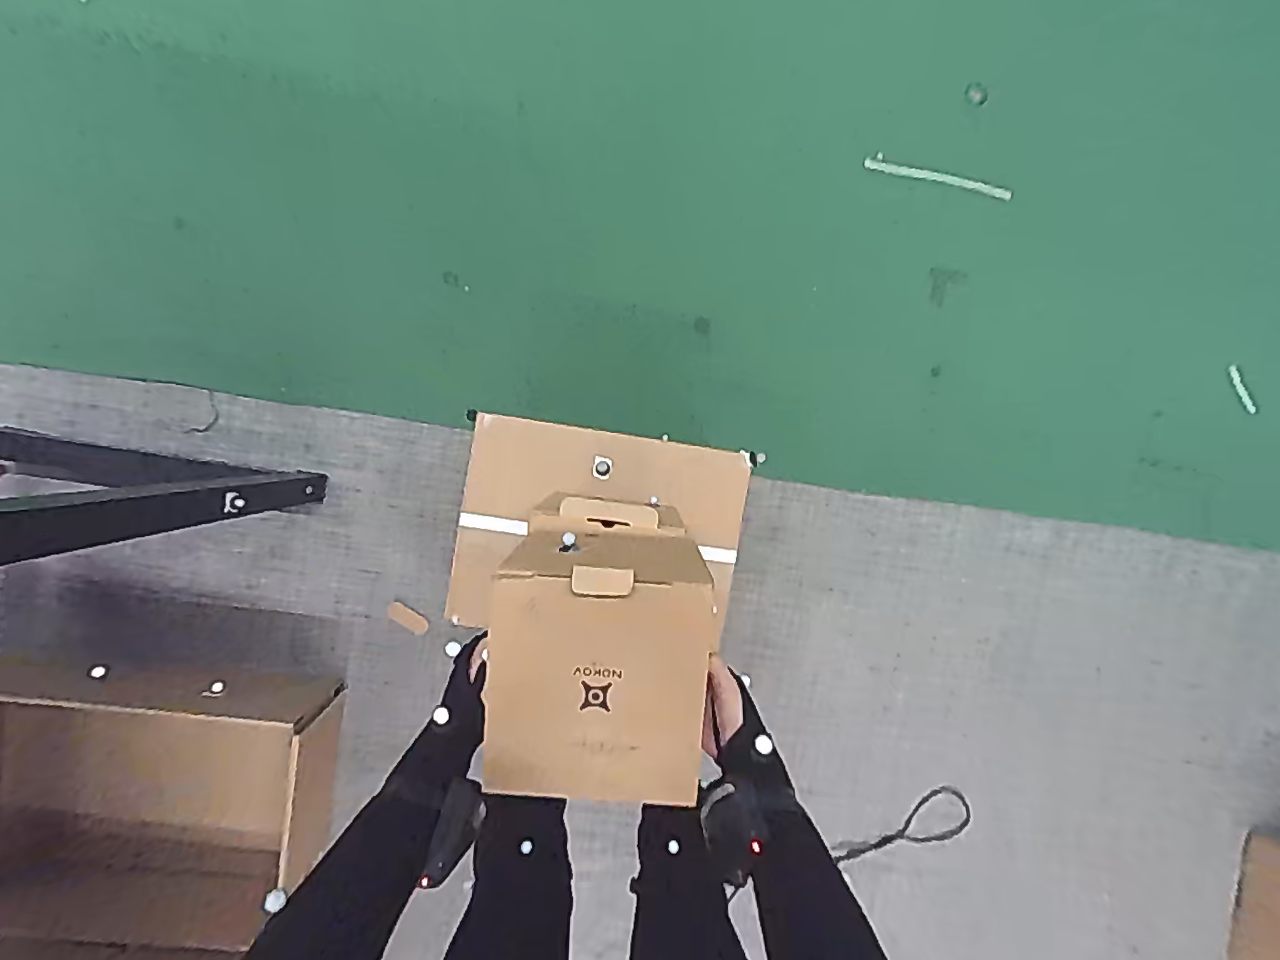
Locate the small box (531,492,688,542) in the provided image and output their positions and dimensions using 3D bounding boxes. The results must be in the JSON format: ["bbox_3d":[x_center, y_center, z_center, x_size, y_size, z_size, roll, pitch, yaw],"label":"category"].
[{"bbox_3d":[-0.043,0.114,0.646,0.168,0.176,0.179,7,96,-1],"label":"small box"}]

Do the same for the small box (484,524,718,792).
[{"bbox_3d":[-0.032,0.140,0.484,0.168,0.176,0.179,4,95,-1],"label":"small box"}]
